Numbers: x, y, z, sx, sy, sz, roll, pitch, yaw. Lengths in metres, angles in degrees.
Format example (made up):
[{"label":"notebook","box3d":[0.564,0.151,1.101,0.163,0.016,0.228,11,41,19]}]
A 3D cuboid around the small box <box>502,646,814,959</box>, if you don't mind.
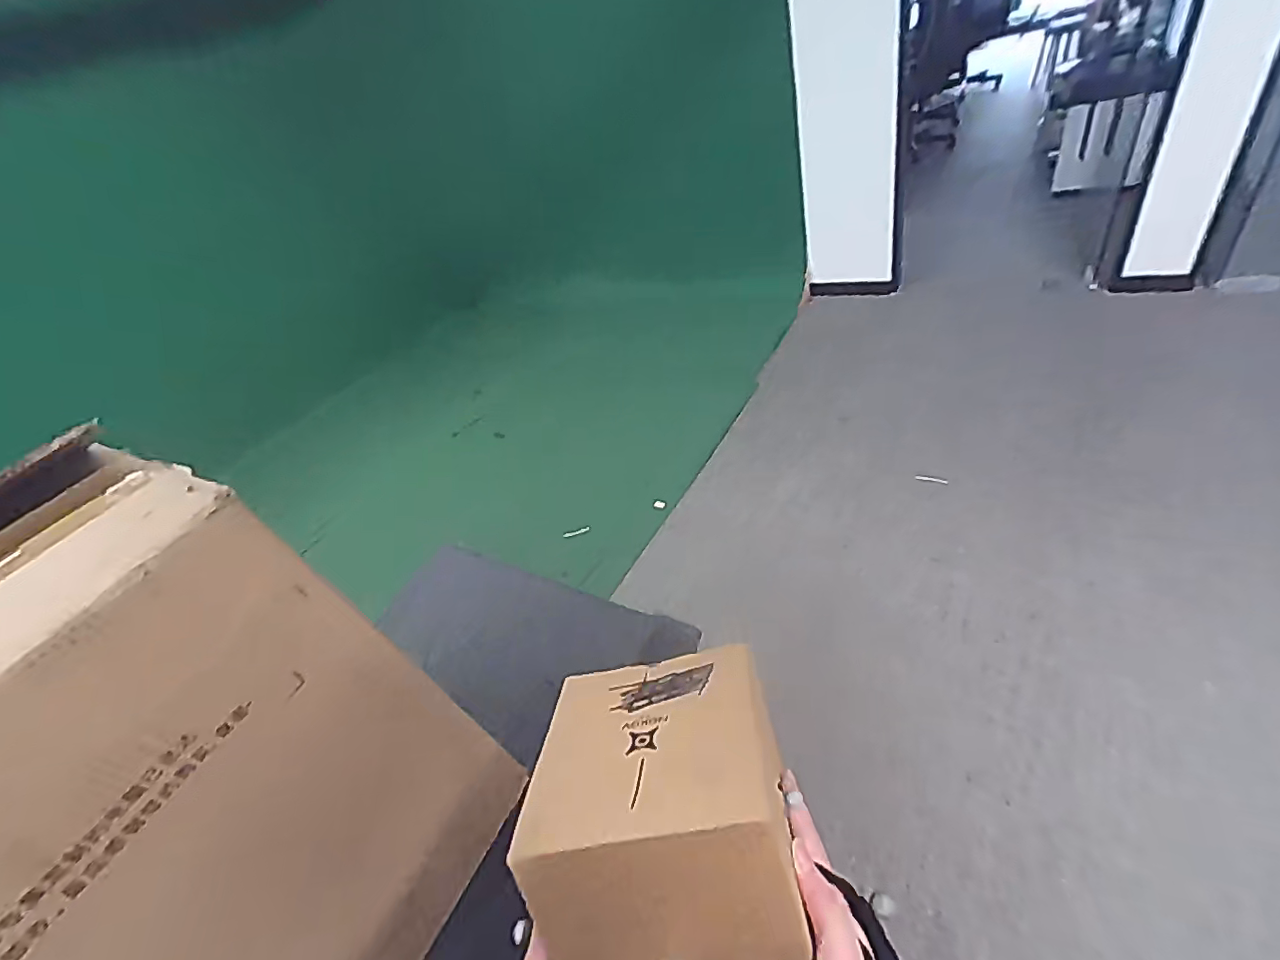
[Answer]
[{"label":"small box","box3d":[0.024,0.261,0.413,0.168,0.176,0.179,-16,15,10]}]
